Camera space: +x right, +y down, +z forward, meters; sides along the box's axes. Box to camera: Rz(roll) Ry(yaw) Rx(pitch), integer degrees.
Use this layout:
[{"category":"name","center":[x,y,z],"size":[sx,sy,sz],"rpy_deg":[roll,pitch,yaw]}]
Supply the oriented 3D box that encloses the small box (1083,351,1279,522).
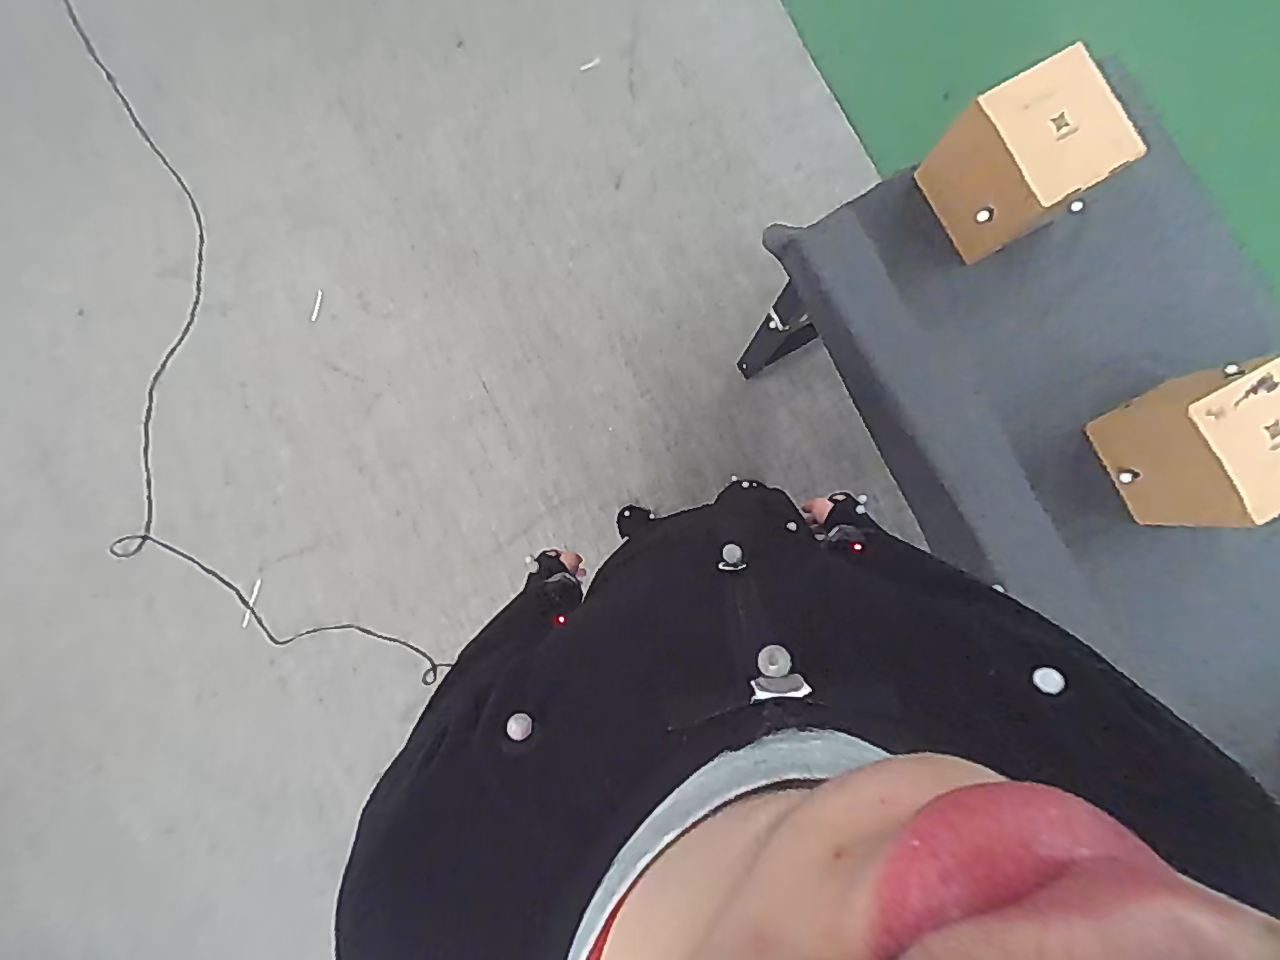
[{"category":"small box","center":[0.808,-0.055,0.778],"size":[0.168,0.176,0.179],"rpy_deg":[-29,88,-4]}]

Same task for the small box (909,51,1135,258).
[{"category":"small box","center":[0.544,-0.458,0.796],"size":[0.168,0.176,0.179],"rpy_deg":[-31,87,-5]}]
